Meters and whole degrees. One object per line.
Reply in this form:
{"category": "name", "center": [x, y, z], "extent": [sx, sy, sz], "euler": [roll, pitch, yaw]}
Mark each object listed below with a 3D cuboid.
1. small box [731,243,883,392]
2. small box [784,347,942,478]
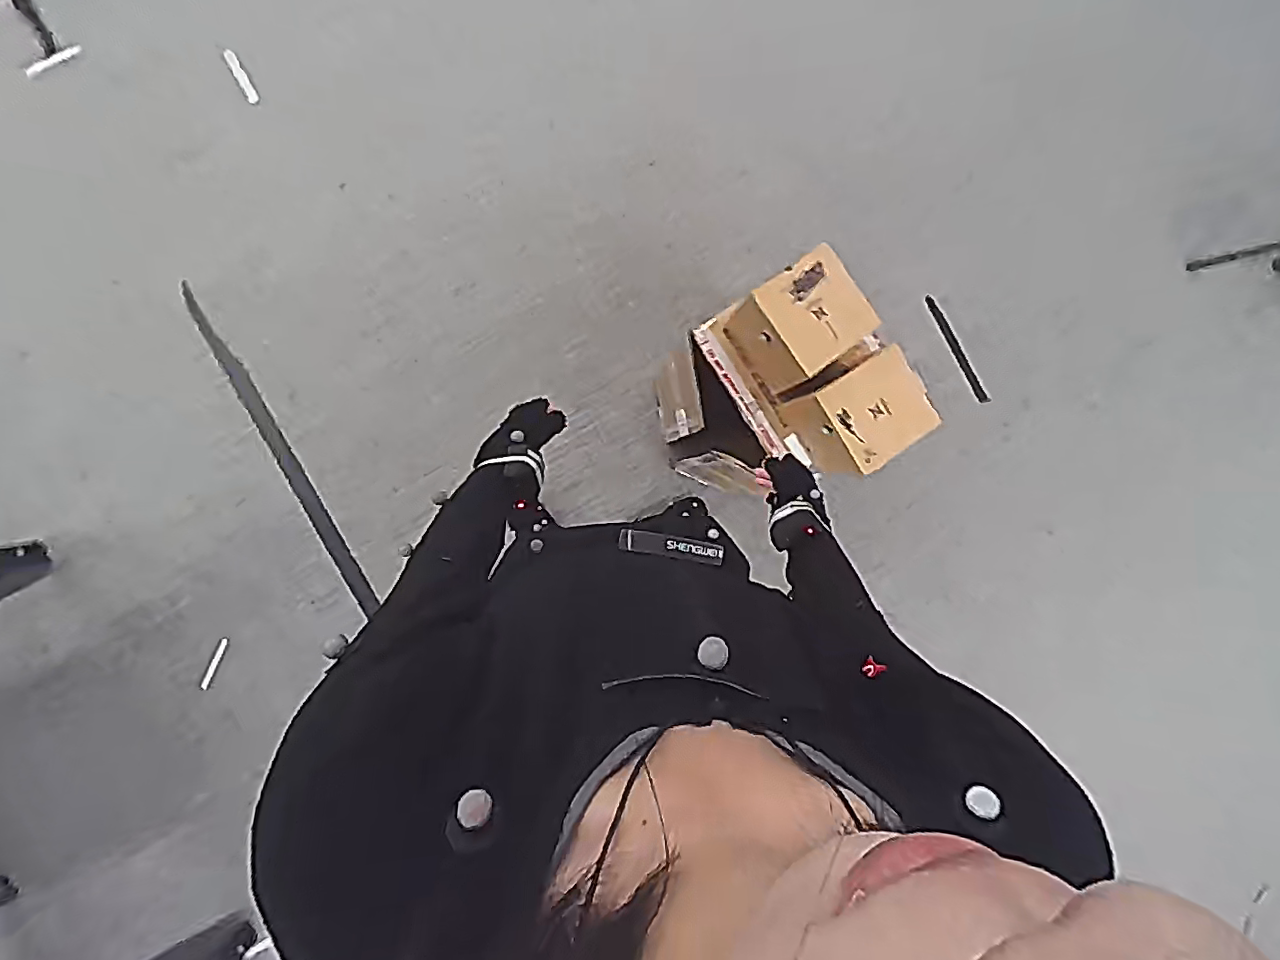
{"category": "small box", "center": [0.291, -0.283, 0.987], "extent": [0.168, 0.176, 0.179], "euler": [-36, 92, -6]}
{"category": "small box", "center": [0.401, -0.119, 0.999], "extent": [0.179, 0.176, 0.168], "euler": [-33, 95, -6]}
